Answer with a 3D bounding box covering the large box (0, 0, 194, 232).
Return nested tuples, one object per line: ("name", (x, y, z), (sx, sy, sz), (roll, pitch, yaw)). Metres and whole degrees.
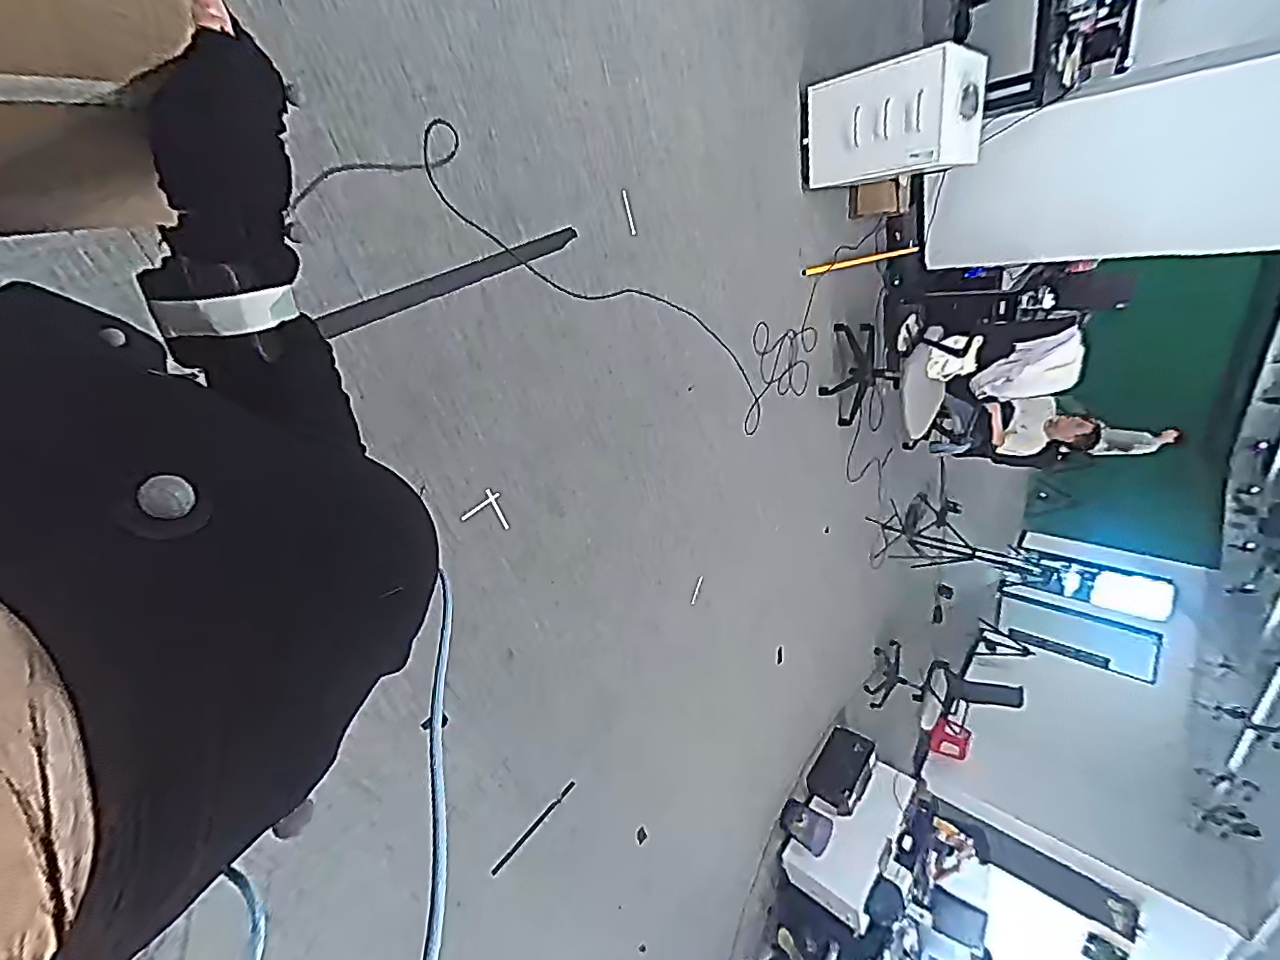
("large box", (-0.435, -0.271, 0.143), (0.408, 0.320, 0.320), (-31, 105, -39))
